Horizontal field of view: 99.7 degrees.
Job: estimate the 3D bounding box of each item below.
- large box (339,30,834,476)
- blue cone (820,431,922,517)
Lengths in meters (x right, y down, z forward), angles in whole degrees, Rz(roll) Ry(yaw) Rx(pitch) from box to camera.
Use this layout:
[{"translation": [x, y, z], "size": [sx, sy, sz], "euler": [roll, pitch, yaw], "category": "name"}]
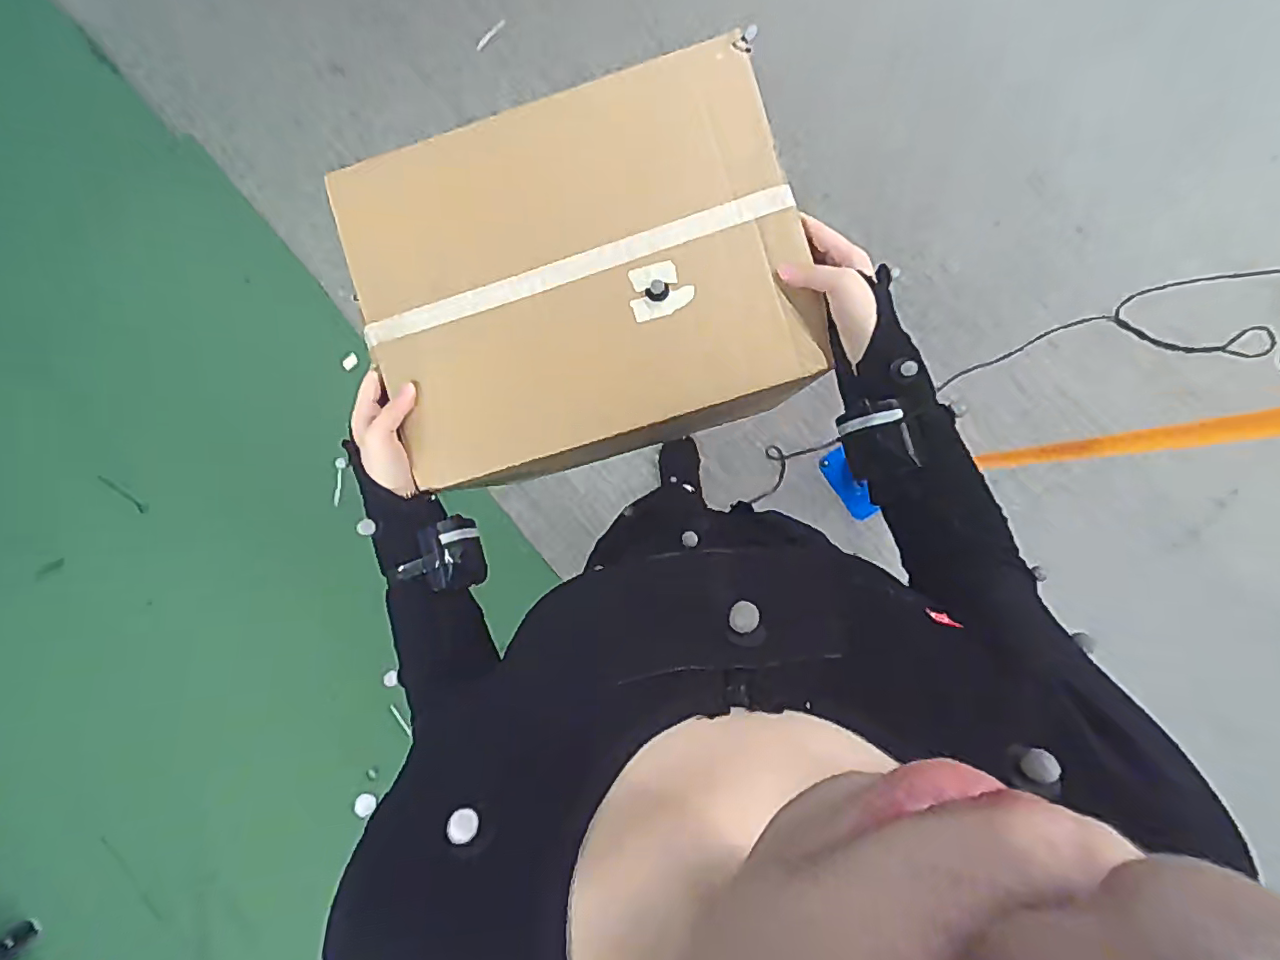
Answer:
[{"translation": [-0.049, -0.207, 0.647], "size": [0.408, 0.320, 0.320], "euler": [-17, 90, 3], "category": "large box"}, {"translation": [0.584, -0.019, 1.279], "size": [0.192, 0.380, 0.193], "euler": [-33, 86, 6], "category": "blue cone"}]
